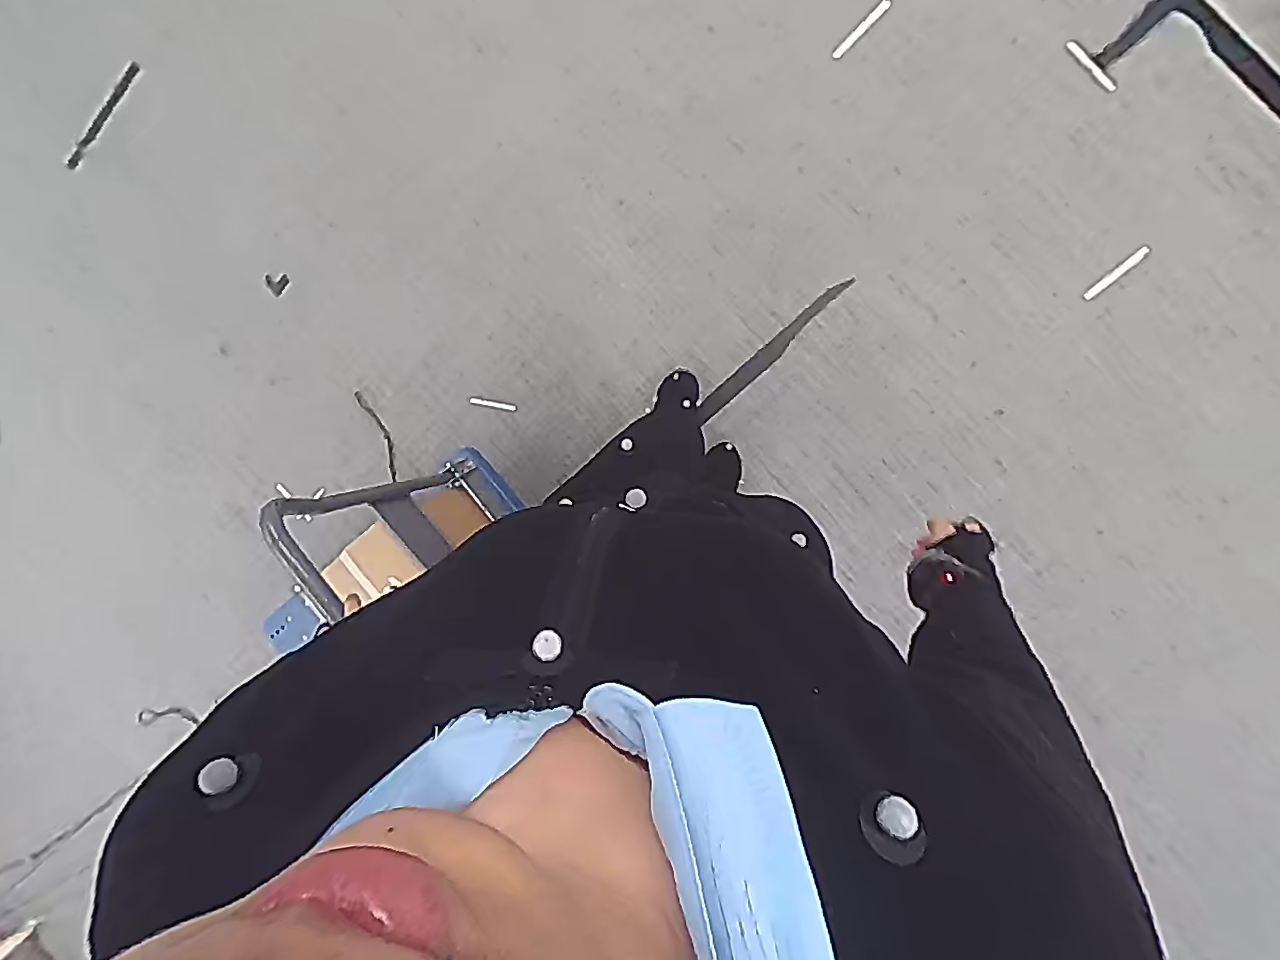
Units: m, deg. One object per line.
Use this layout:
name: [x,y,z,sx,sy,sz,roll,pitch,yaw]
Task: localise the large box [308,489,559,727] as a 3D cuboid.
large box: [-0.470,0.285,1.306,0.320,0.320,0.408,-39,90,12]
